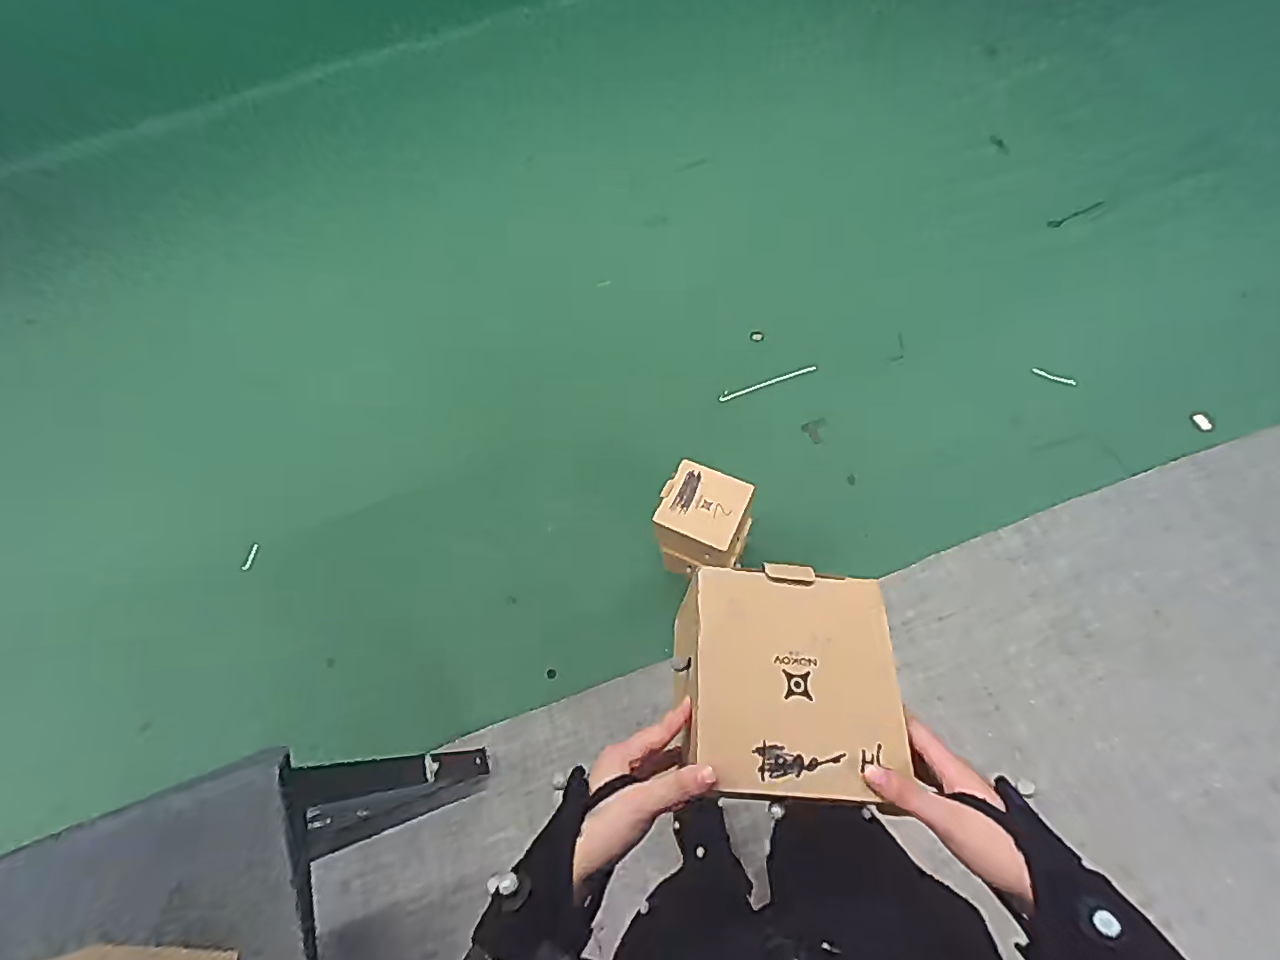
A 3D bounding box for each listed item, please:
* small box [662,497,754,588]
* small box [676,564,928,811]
[{"bbox_3d":[0.173,0.173,1.375,0.179,0.176,0.168,22,69,16],"label":"small box"},{"bbox_3d":[0.126,0.196,0.498,0.168,0.176,0.179,5,59,-2],"label":"small box"}]
